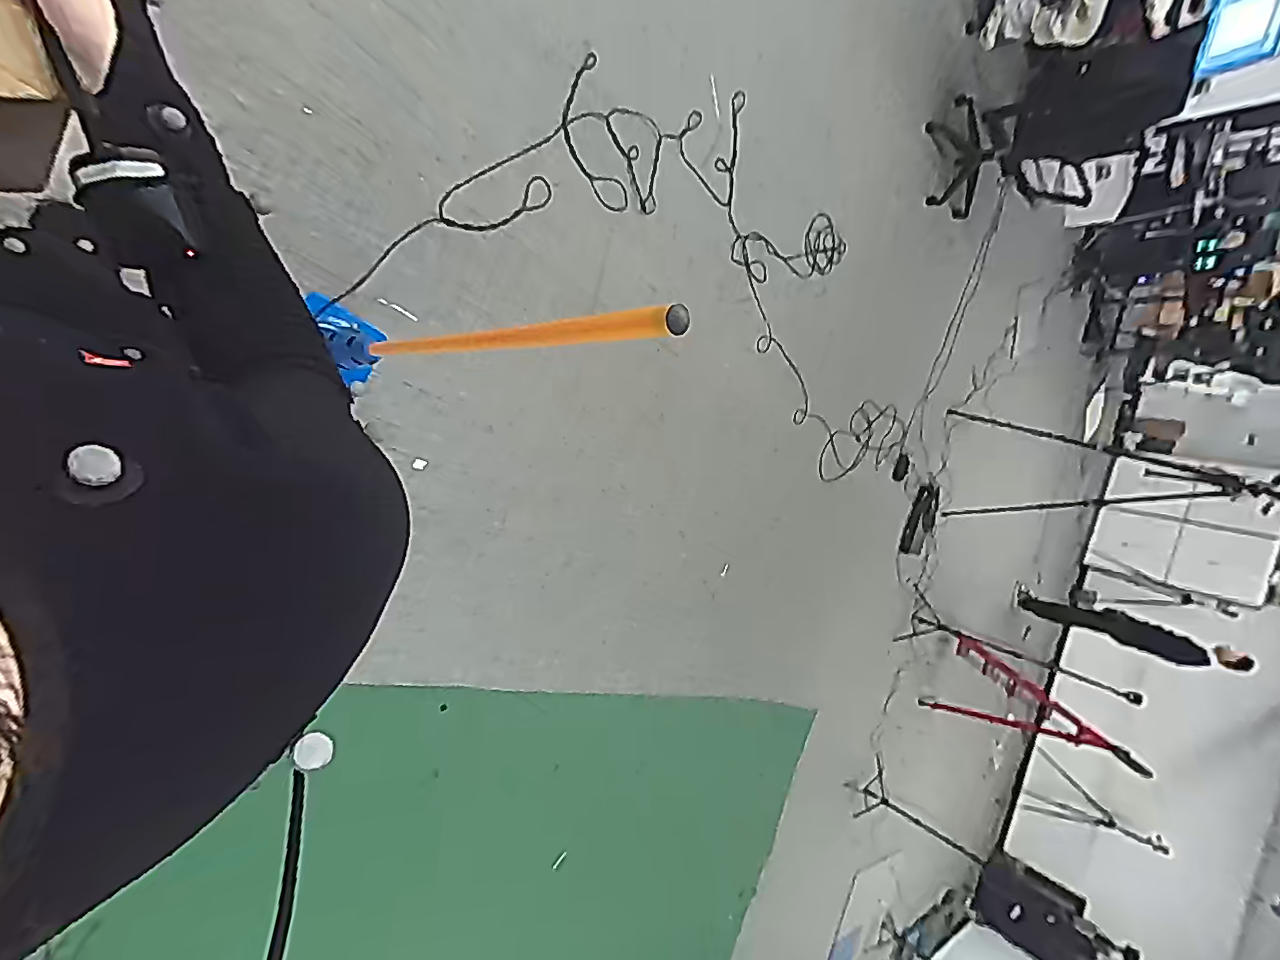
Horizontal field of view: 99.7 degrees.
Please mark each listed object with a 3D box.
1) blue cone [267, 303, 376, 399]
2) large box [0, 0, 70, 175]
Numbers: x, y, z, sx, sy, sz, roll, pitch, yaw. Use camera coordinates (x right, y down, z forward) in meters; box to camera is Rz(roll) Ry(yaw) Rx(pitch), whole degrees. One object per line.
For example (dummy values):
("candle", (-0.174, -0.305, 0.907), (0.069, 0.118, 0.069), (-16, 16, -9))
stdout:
("blue cone", (-0.656, -0.279, 1.187), (0.193, 0.380, 0.192), (35, 78, -41))
("large box", (-0.625, -0.347, 0.250), (0.408, 0.320, 0.320), (-30, 122, -45))
